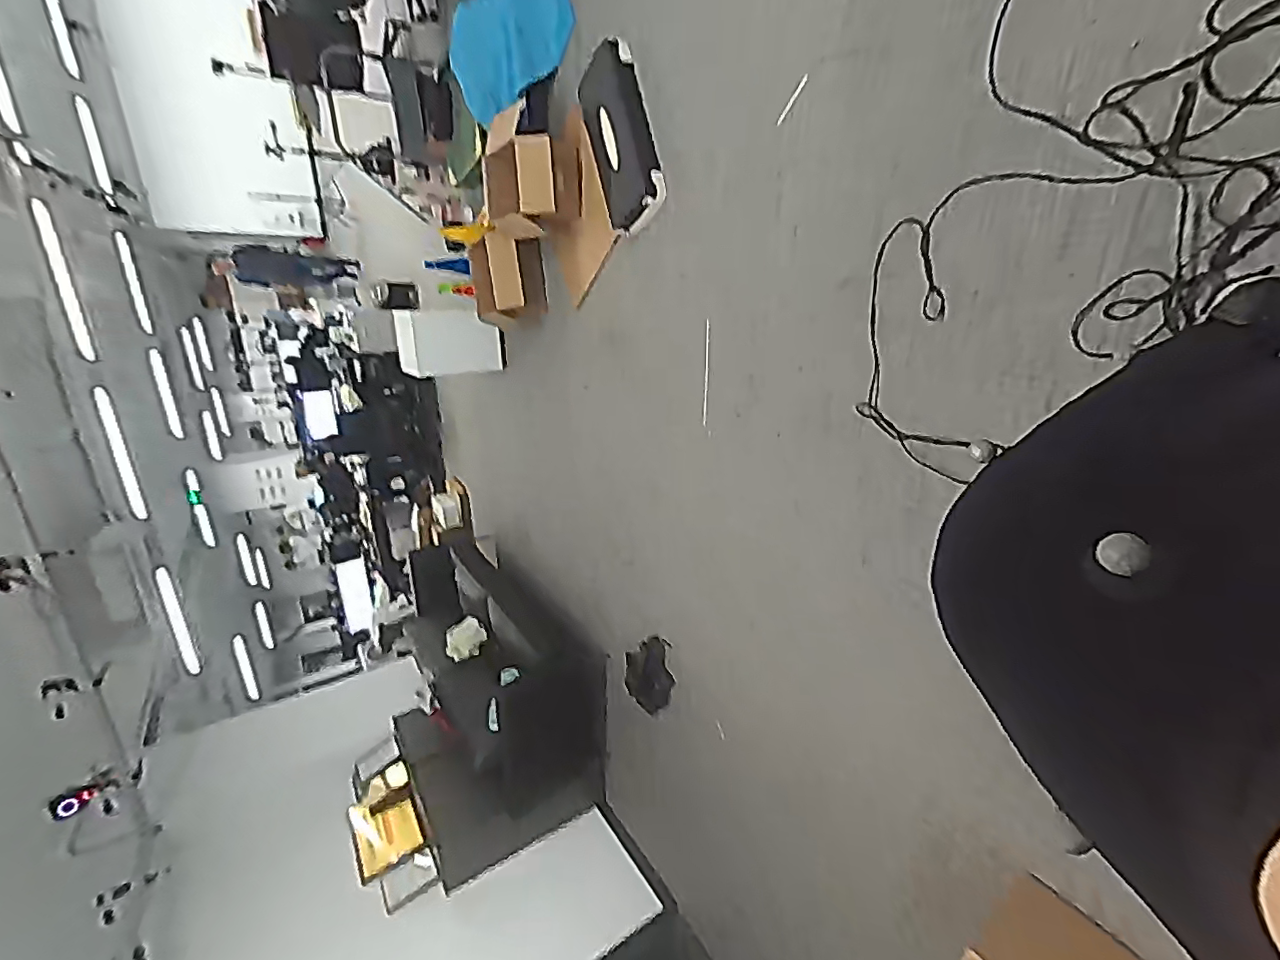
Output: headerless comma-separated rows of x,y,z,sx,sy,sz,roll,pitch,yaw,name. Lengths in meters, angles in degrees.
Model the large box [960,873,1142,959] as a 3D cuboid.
0.993,1.243,1.229,0.408,0.320,0.320,28,123,52,large box
